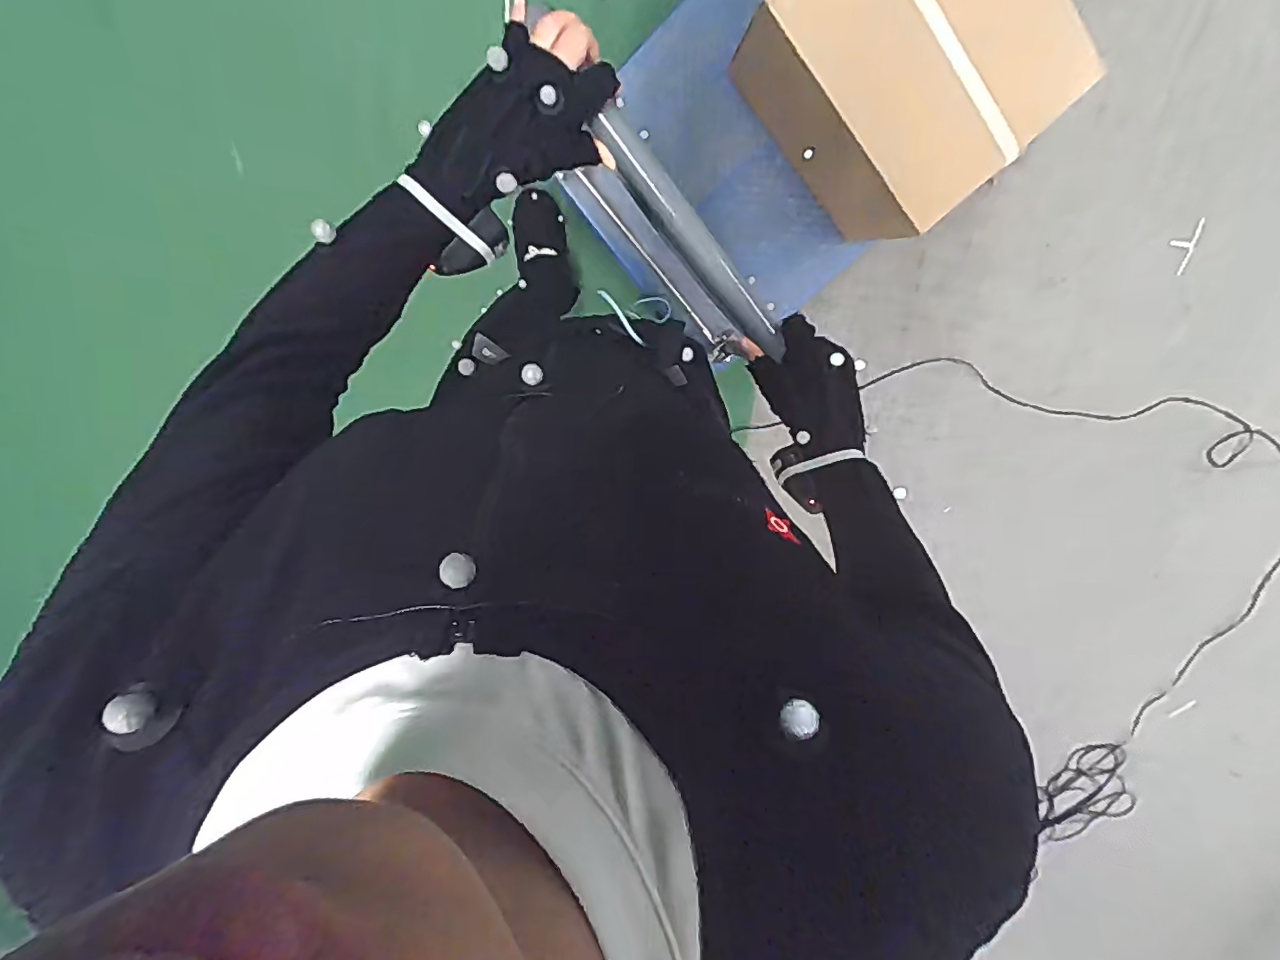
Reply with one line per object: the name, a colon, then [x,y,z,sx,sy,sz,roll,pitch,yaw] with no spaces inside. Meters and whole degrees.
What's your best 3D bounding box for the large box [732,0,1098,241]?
large box: [0.411,-0.666,0.893,0.320,0.320,0.408,-40,106,14]
